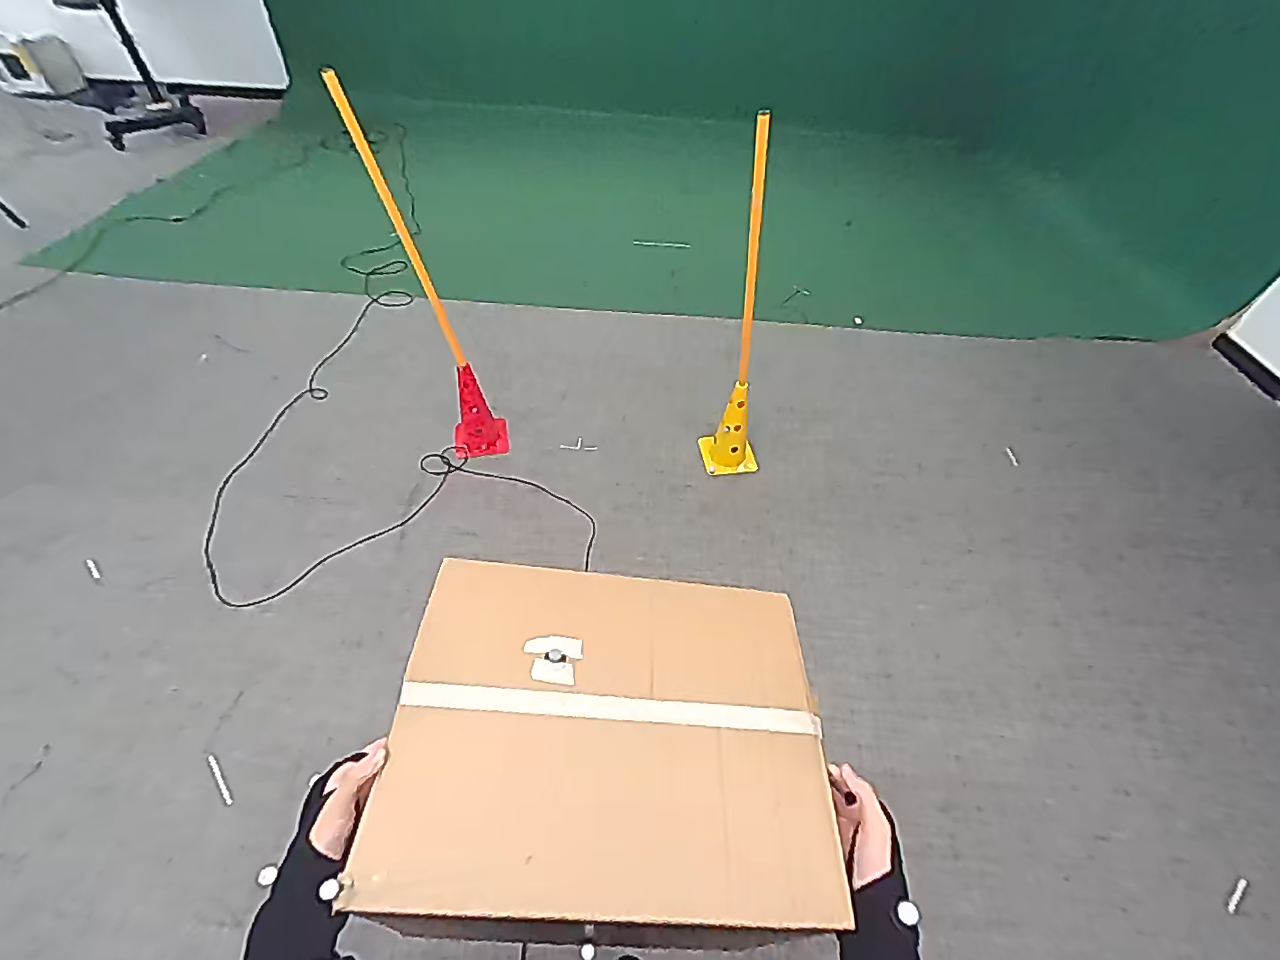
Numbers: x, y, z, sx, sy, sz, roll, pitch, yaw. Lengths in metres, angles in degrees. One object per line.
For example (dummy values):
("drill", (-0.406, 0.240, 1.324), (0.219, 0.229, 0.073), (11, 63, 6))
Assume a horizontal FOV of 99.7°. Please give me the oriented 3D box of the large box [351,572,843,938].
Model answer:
("large box", (-0.043, 0.335, 0.639), (0.408, 0.320, 0.320), (6, 46, -5))
